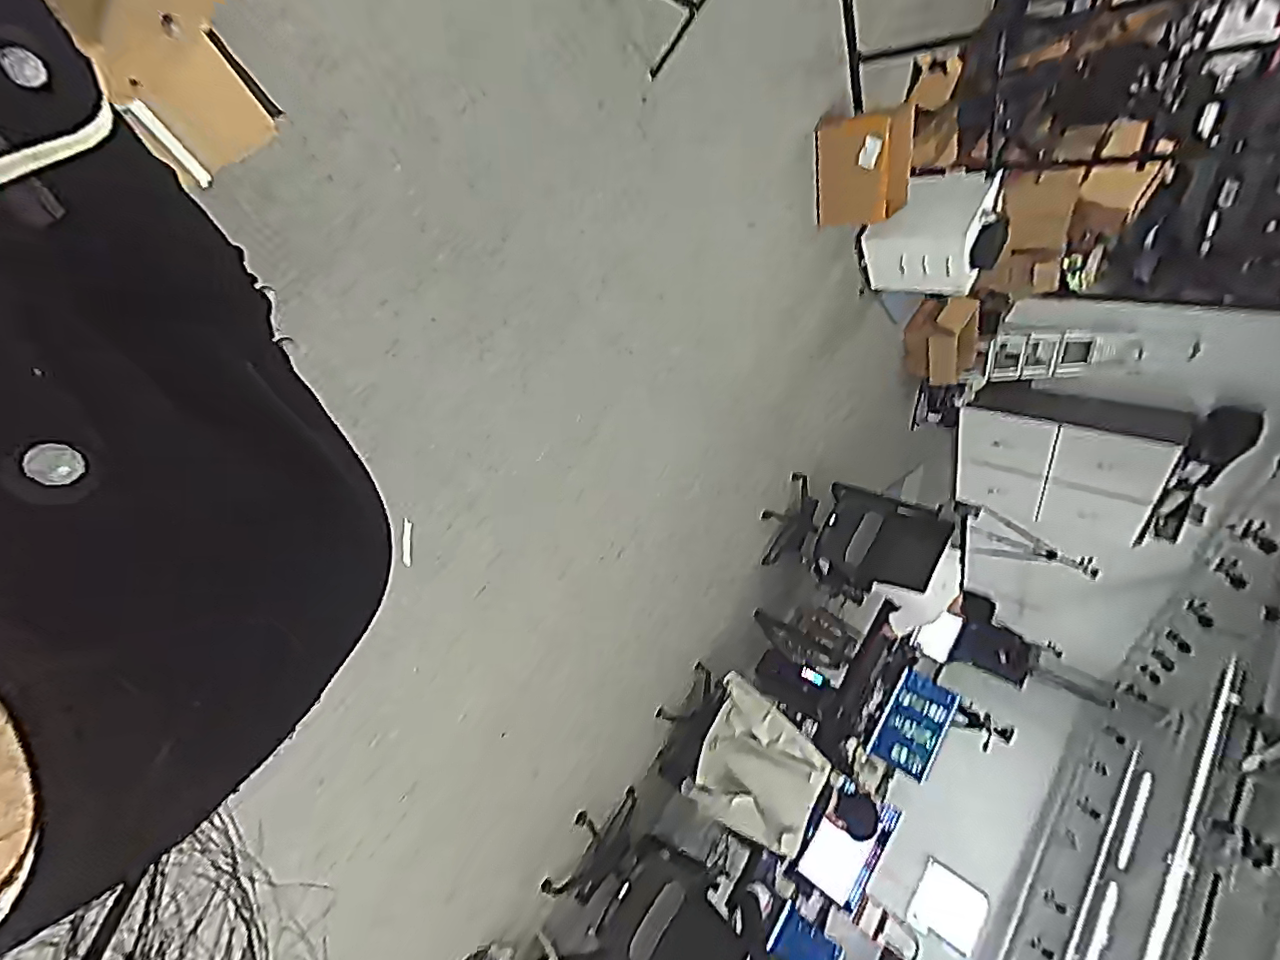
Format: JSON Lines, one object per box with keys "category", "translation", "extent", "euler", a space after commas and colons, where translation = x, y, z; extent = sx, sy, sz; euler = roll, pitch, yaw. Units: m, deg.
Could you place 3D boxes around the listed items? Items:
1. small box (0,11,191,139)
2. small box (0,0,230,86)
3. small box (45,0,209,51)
{"category": "small box", "translation": [-0.739, -0.572, 0.689], "extent": [0.168, 0.176, 0.179], "euler": [-52, 139, -17]}
{"category": "small box", "translation": [-0.501, -0.492, 0.480], "extent": [0.179, 0.176, 0.168], "euler": [-52, 138, -18]}
{"category": "small box", "translation": [-0.381, -0.447, 0.377], "extent": [0.179, 0.176, 0.168], "euler": [-53, 138, -16]}
